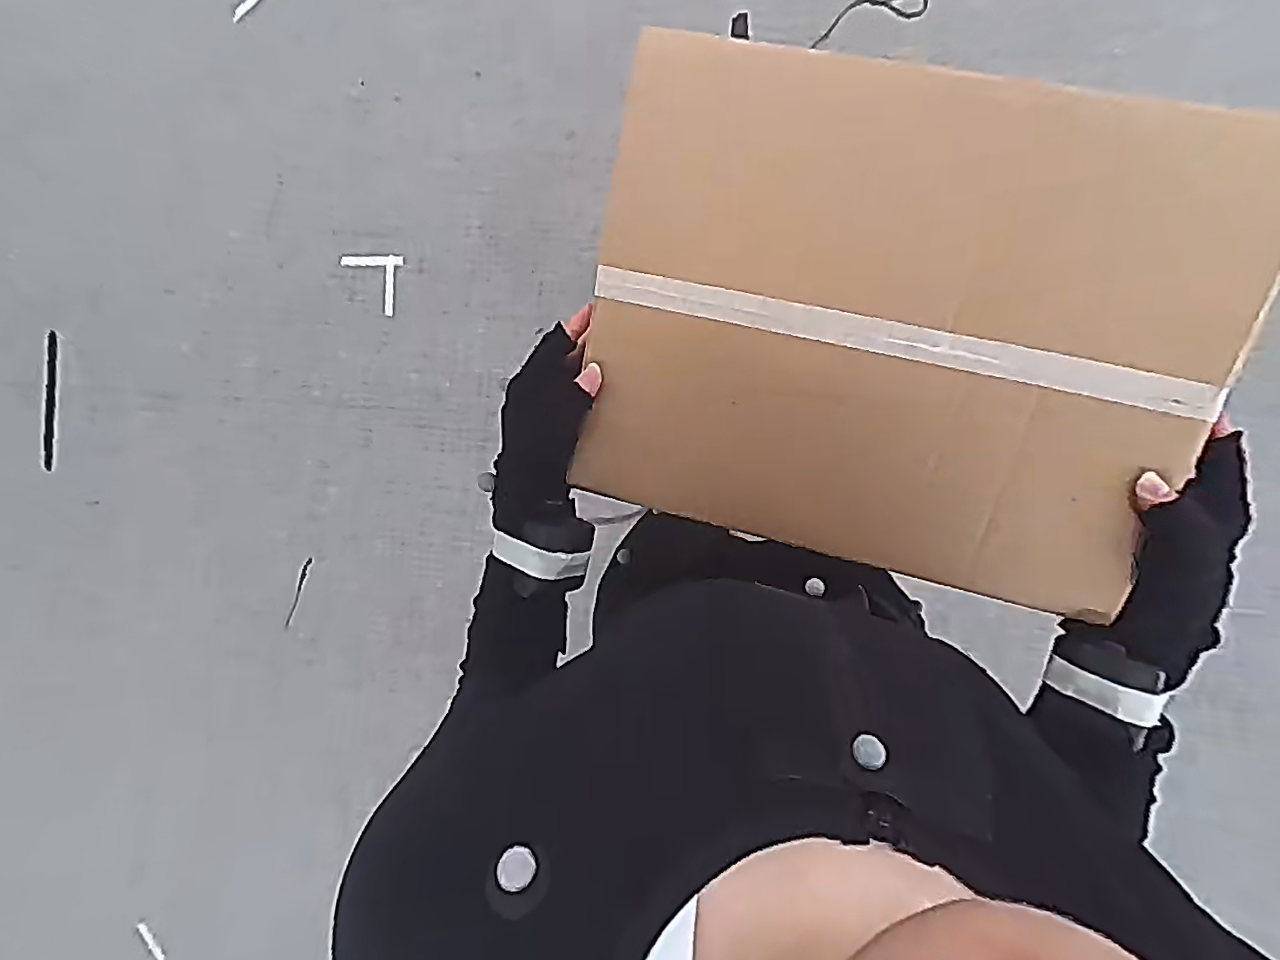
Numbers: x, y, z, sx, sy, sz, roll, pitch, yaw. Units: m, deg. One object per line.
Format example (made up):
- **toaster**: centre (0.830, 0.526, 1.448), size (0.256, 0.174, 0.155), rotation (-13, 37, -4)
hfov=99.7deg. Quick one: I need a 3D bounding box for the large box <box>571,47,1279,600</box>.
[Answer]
- **large box**: centre (0.187, -0.135, 0.516), size (0.408, 0.320, 0.320), rotation (14, 107, 7)
